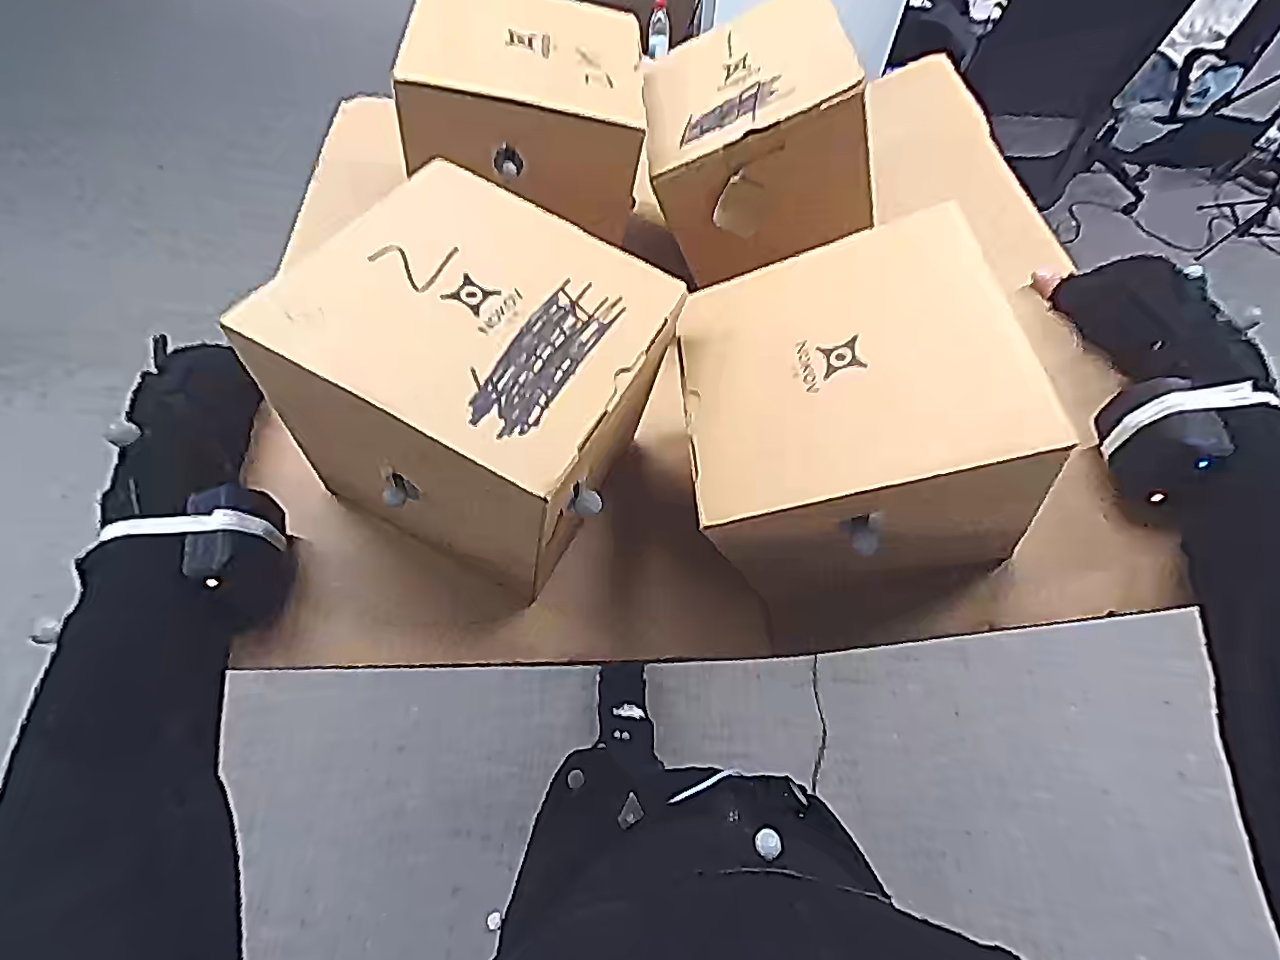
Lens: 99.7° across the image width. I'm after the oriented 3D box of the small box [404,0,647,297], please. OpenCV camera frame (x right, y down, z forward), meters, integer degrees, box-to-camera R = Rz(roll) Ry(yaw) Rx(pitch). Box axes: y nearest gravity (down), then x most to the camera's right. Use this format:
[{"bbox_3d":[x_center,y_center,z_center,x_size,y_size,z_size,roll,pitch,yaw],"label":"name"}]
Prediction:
[{"bbox_3d":[-0.096,-0.292,0.493,0.179,0.176,0.168,5,61,-12],"label":"small box"}]
